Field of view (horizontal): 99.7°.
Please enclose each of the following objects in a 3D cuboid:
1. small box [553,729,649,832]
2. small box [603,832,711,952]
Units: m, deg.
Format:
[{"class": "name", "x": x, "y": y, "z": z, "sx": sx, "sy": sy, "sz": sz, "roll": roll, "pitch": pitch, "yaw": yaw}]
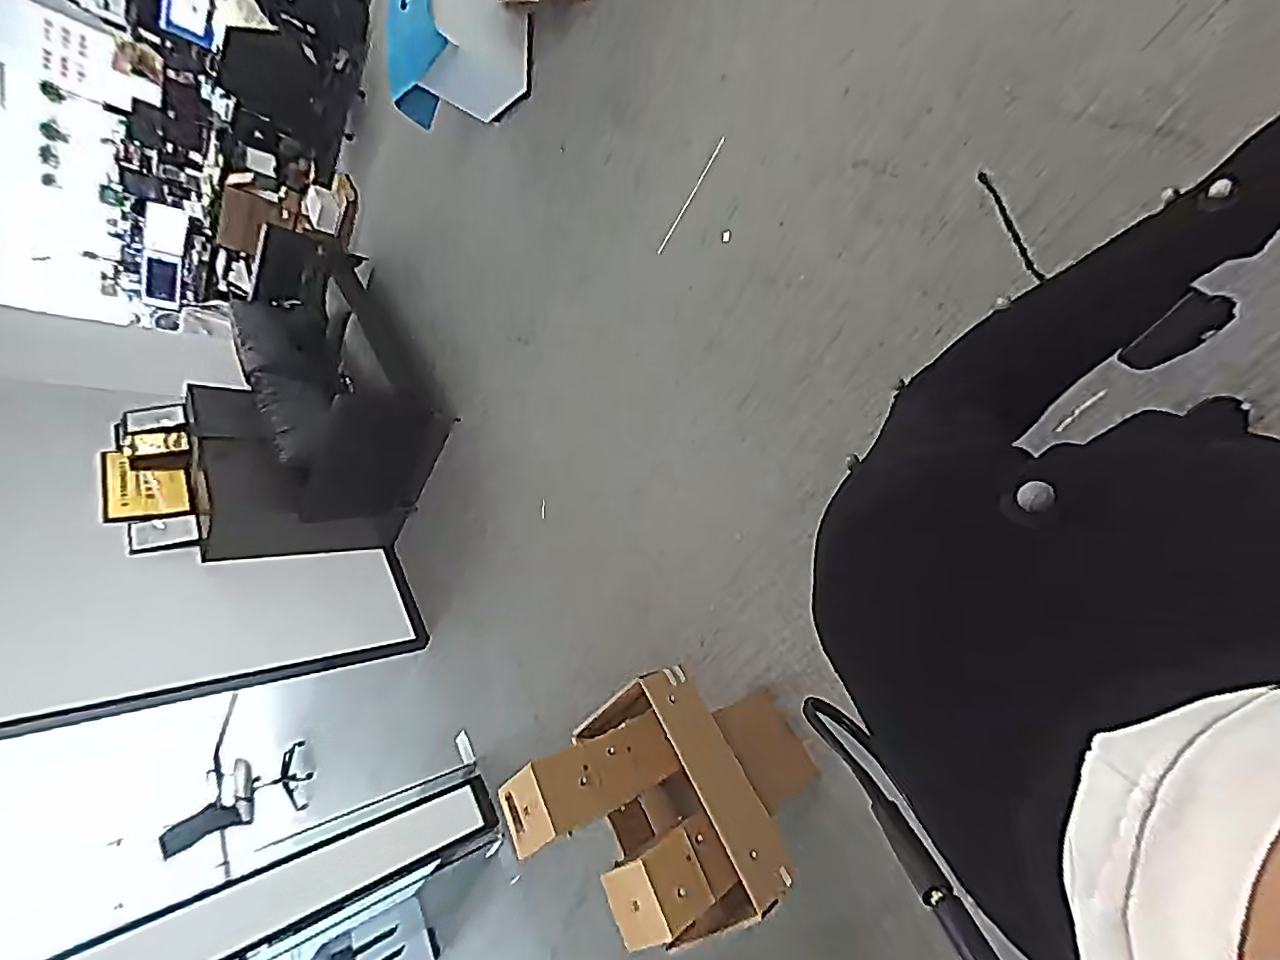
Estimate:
[{"class": "small box", "x": -0.098, "y": 0.801, "z": 1.456, "sx": 0.179, "sy": 0.176, "sz": 0.168, "roll": -49, "pitch": 57, "yaw": 30}, {"class": "small box", "x": 0.048, "y": 0.993, "z": 1.314, "sx": 0.179, "sy": 0.176, "sz": 0.168, "roll": -47, "pitch": 59, "yaw": 32}]
